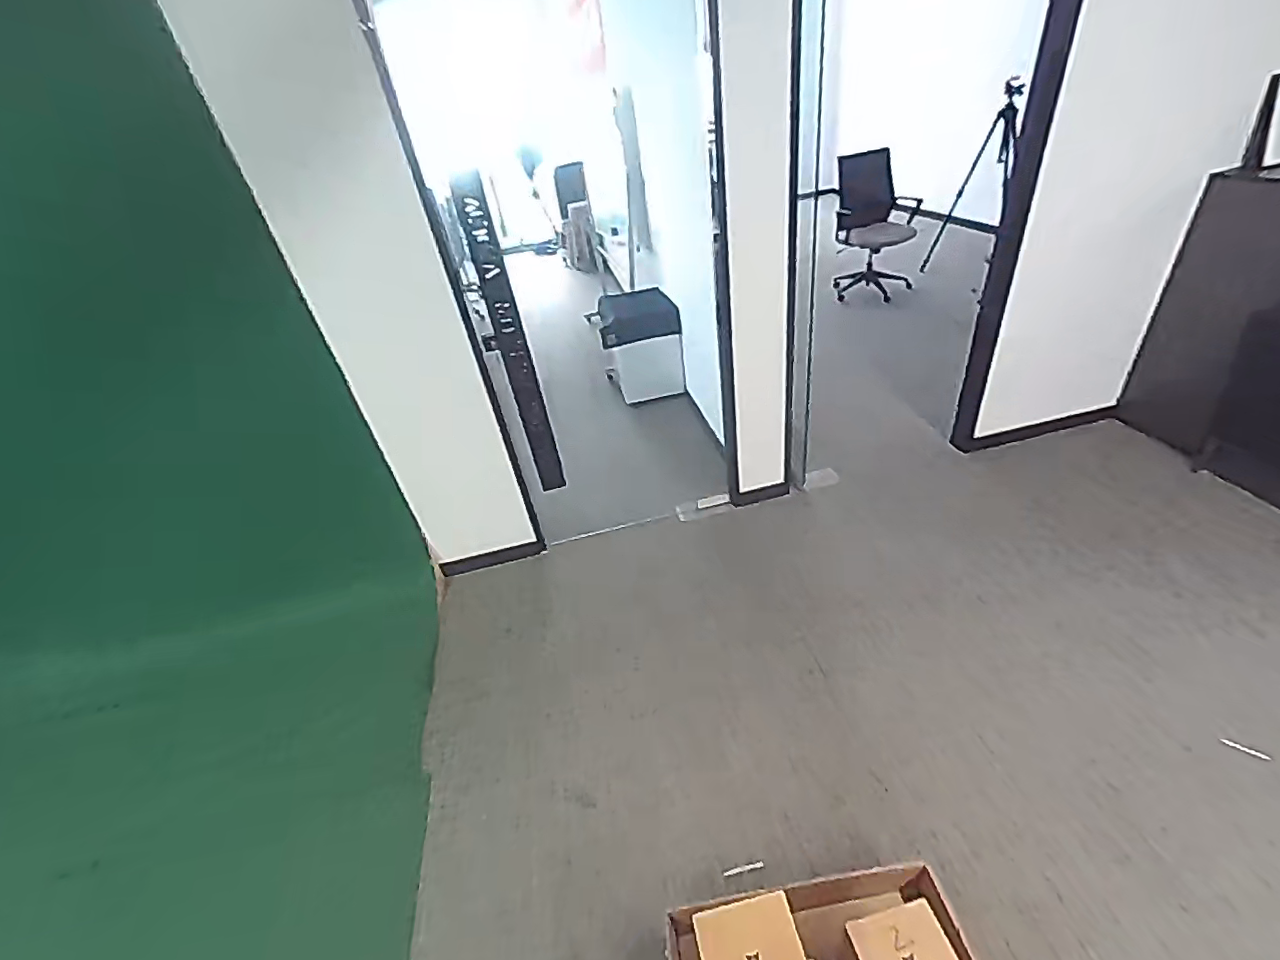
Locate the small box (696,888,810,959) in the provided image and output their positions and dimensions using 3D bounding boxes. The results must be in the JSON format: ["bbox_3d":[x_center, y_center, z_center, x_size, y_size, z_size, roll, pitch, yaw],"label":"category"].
[{"bbox_3d":[0.195,0.826,0.895,0.168,0.176,0.179,-13,35,-4],"label":"small box"}]
